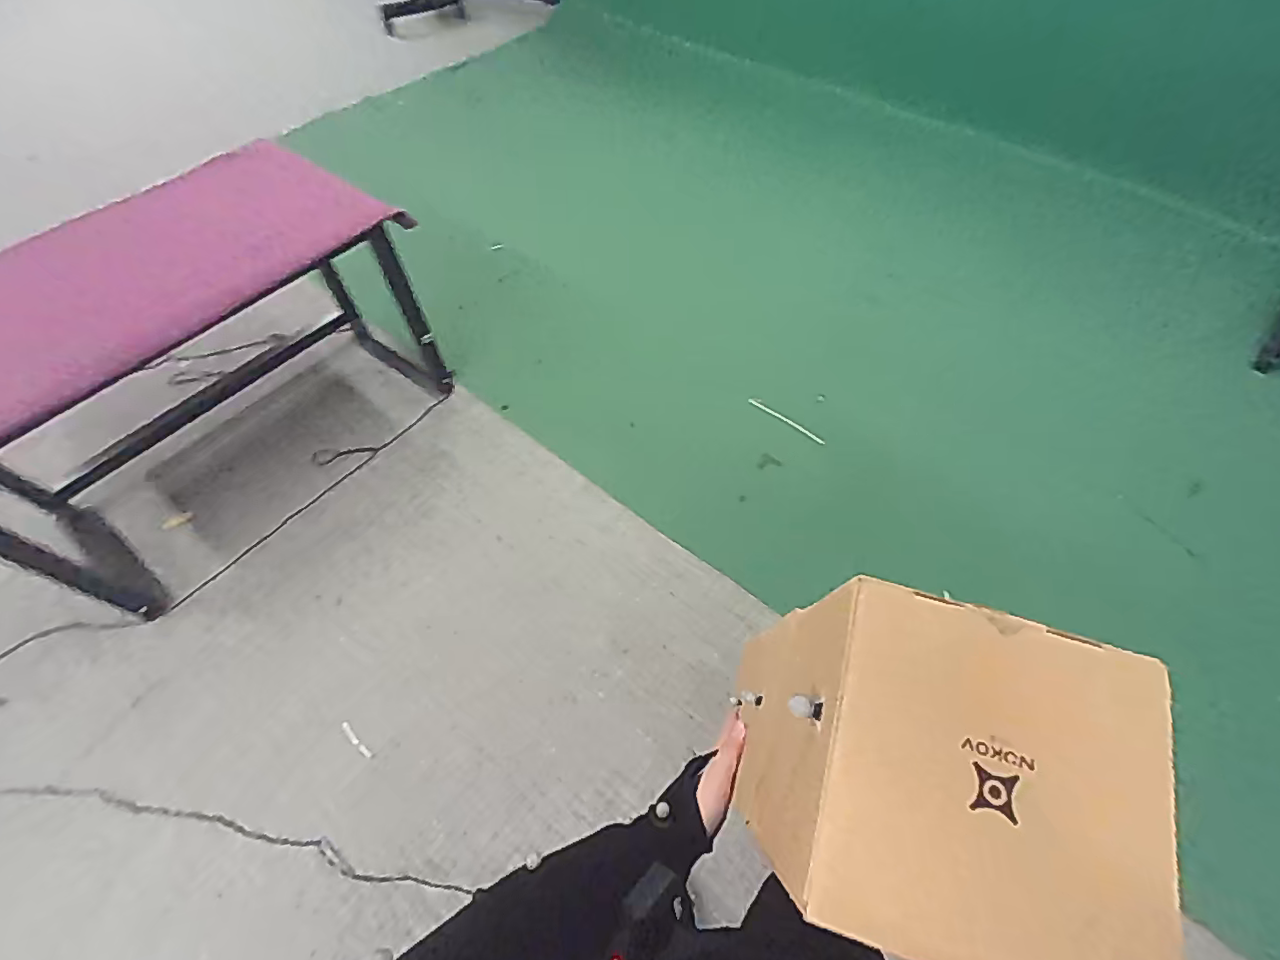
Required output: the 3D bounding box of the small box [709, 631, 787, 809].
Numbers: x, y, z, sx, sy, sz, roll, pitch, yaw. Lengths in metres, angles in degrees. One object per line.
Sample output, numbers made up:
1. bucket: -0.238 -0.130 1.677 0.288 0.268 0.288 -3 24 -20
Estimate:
1. small box: 0.185 0.299 0.644 0.168 0.176 0.179 16 69 9
